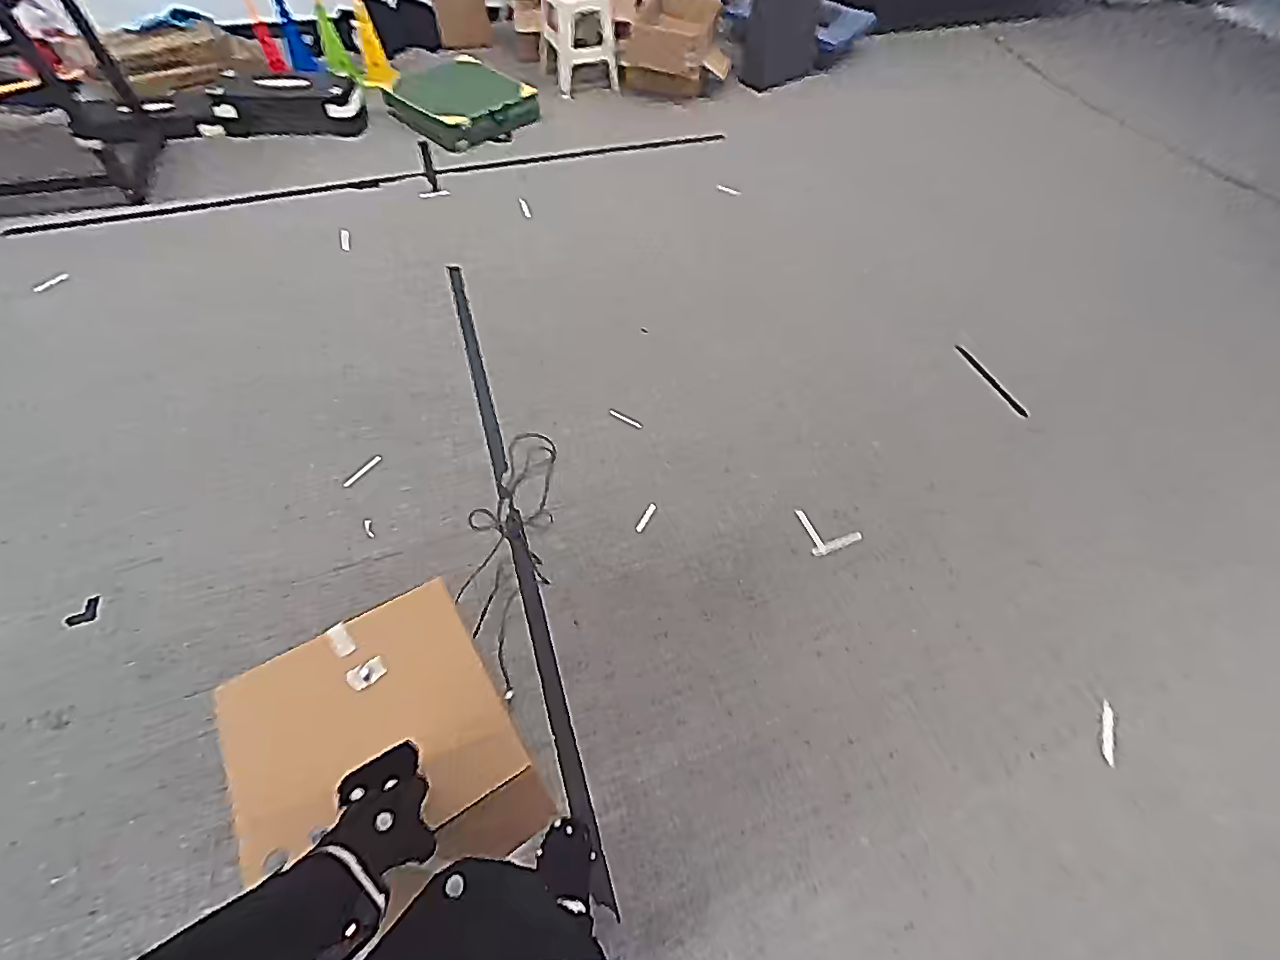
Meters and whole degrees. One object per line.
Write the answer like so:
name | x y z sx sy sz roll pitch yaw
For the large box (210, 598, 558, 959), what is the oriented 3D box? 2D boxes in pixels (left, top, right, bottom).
large box | -0.355 0.452 0.834 0.320 0.408 0.320 -28 57 -22
